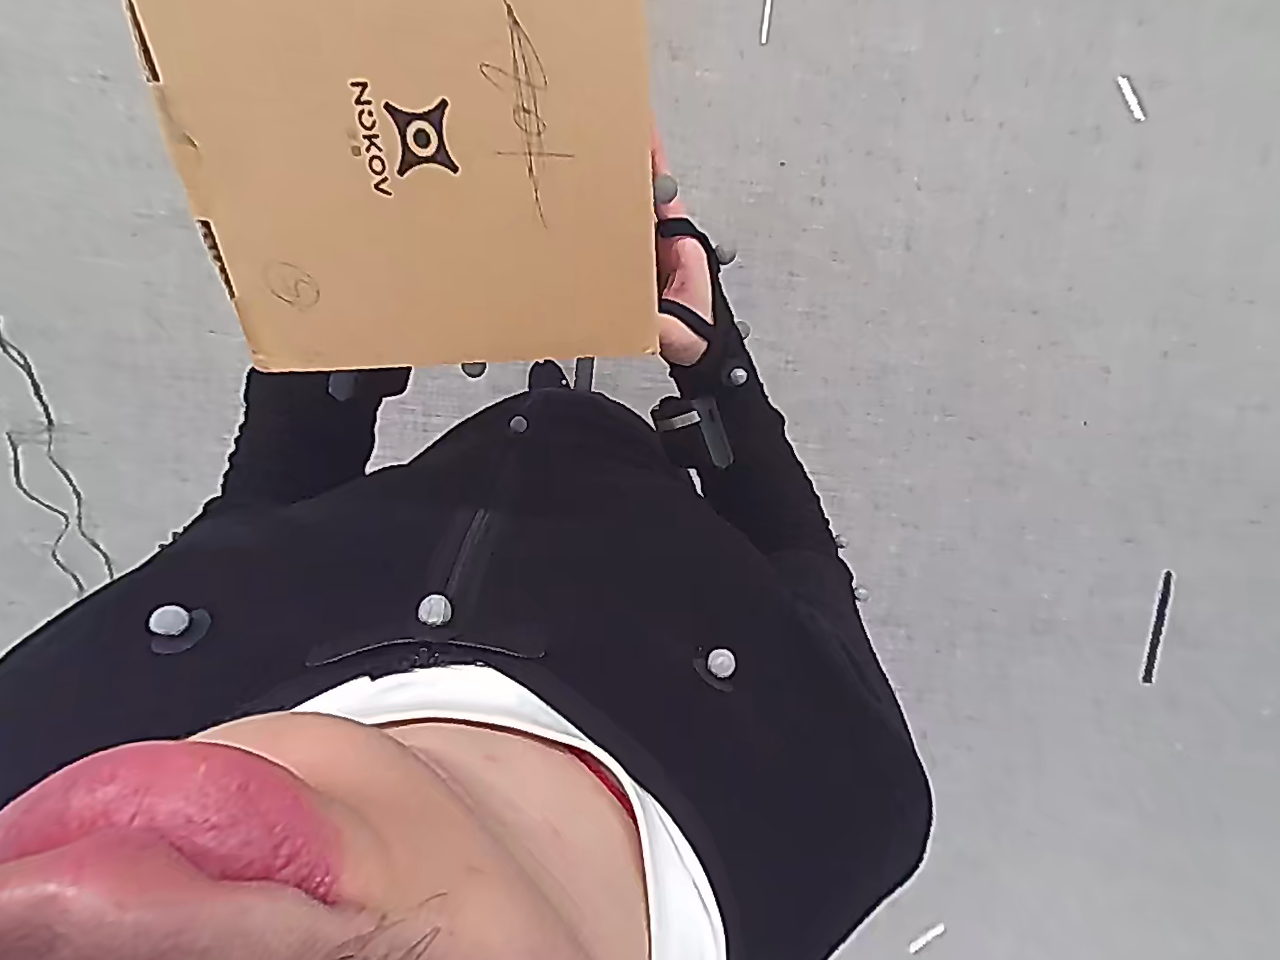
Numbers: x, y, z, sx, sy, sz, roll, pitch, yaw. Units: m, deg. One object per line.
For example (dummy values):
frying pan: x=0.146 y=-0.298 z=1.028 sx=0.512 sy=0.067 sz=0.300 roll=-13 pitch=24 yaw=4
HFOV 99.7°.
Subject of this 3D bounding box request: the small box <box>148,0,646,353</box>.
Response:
small box: x=-0.087 y=-0.167 z=0.281 sx=0.179 sy=0.176 sz=0.168 roll=-3 pitch=116 yaw=0
